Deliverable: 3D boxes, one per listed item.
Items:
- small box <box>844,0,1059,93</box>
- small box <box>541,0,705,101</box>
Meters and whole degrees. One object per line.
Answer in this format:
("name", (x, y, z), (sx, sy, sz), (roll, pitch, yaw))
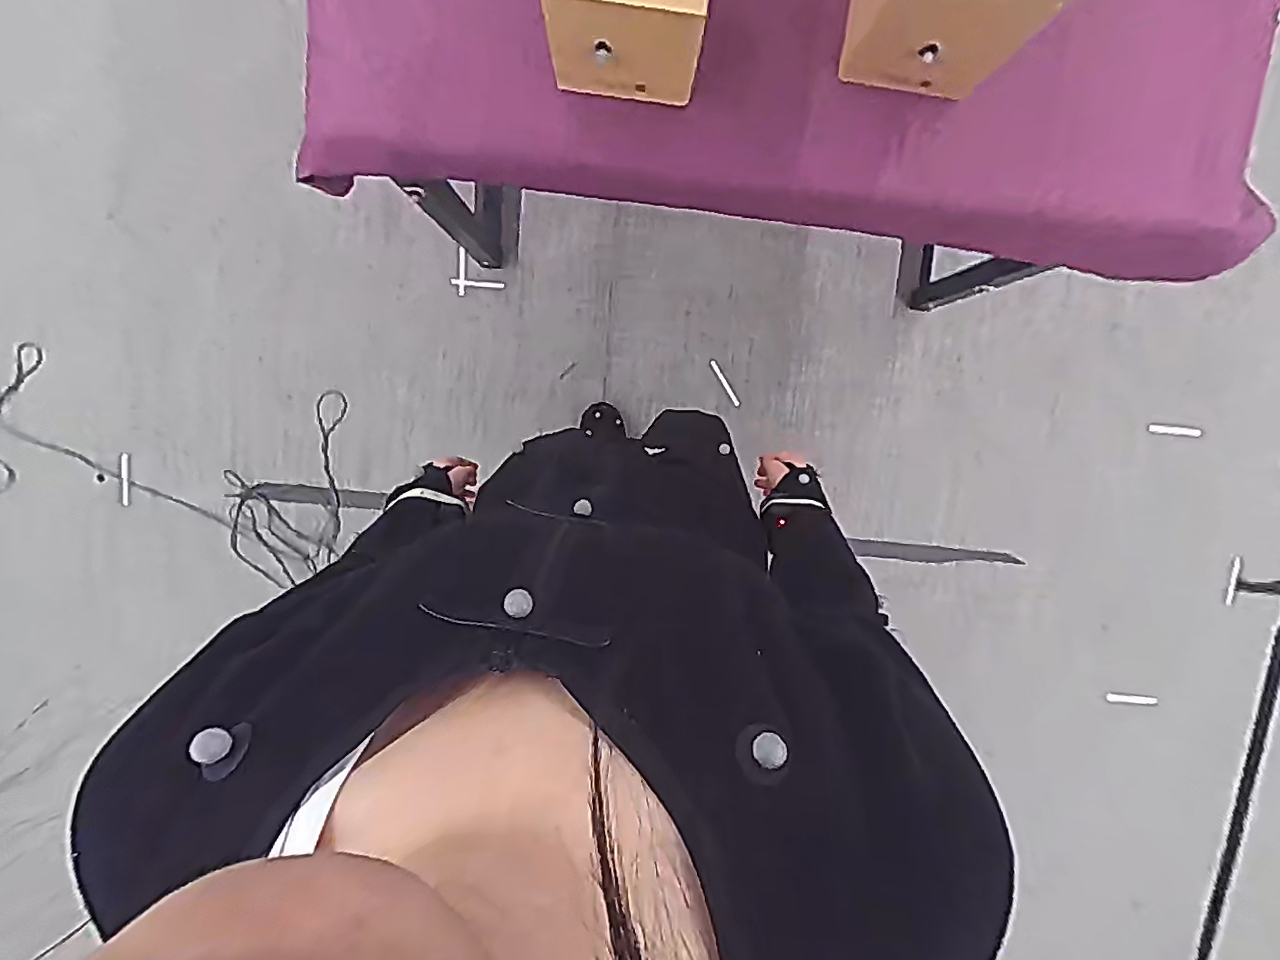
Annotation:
("small box", (0.346, -0.575, 0.600), (0.168, 0.176, 0.179), (8, 97, -3))
("small box", (-0.009, -0.558, 0.592), (0.168, 0.176, 0.179), (6, 96, -3))
